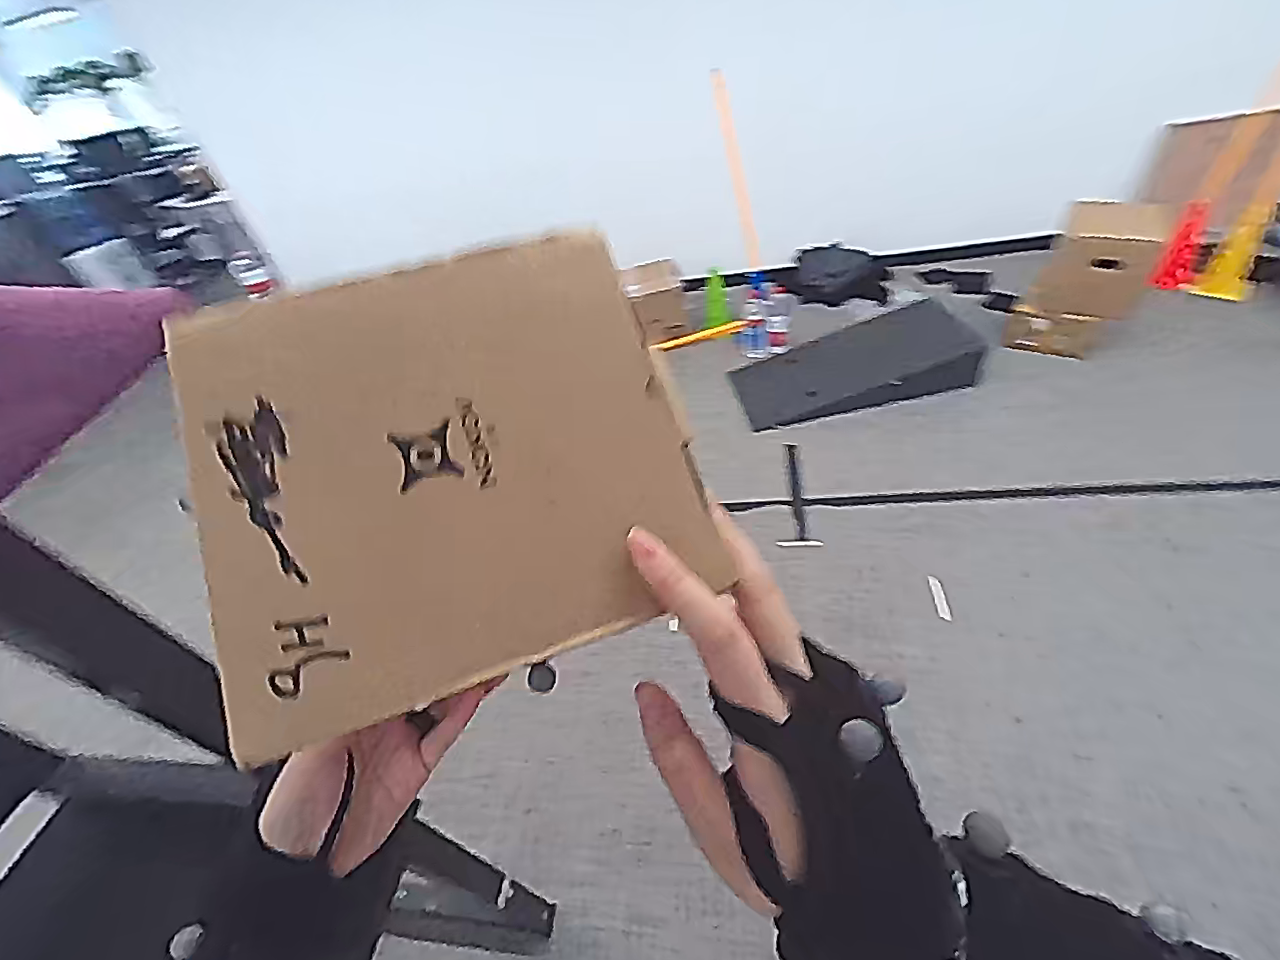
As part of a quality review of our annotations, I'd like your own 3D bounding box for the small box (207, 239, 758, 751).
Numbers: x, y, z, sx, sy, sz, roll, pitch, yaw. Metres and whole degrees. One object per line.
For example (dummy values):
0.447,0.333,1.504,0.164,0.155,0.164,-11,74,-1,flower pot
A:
-0.070,0.013,0.278,0.179,0.176,0.168,-16,74,-12,small box
